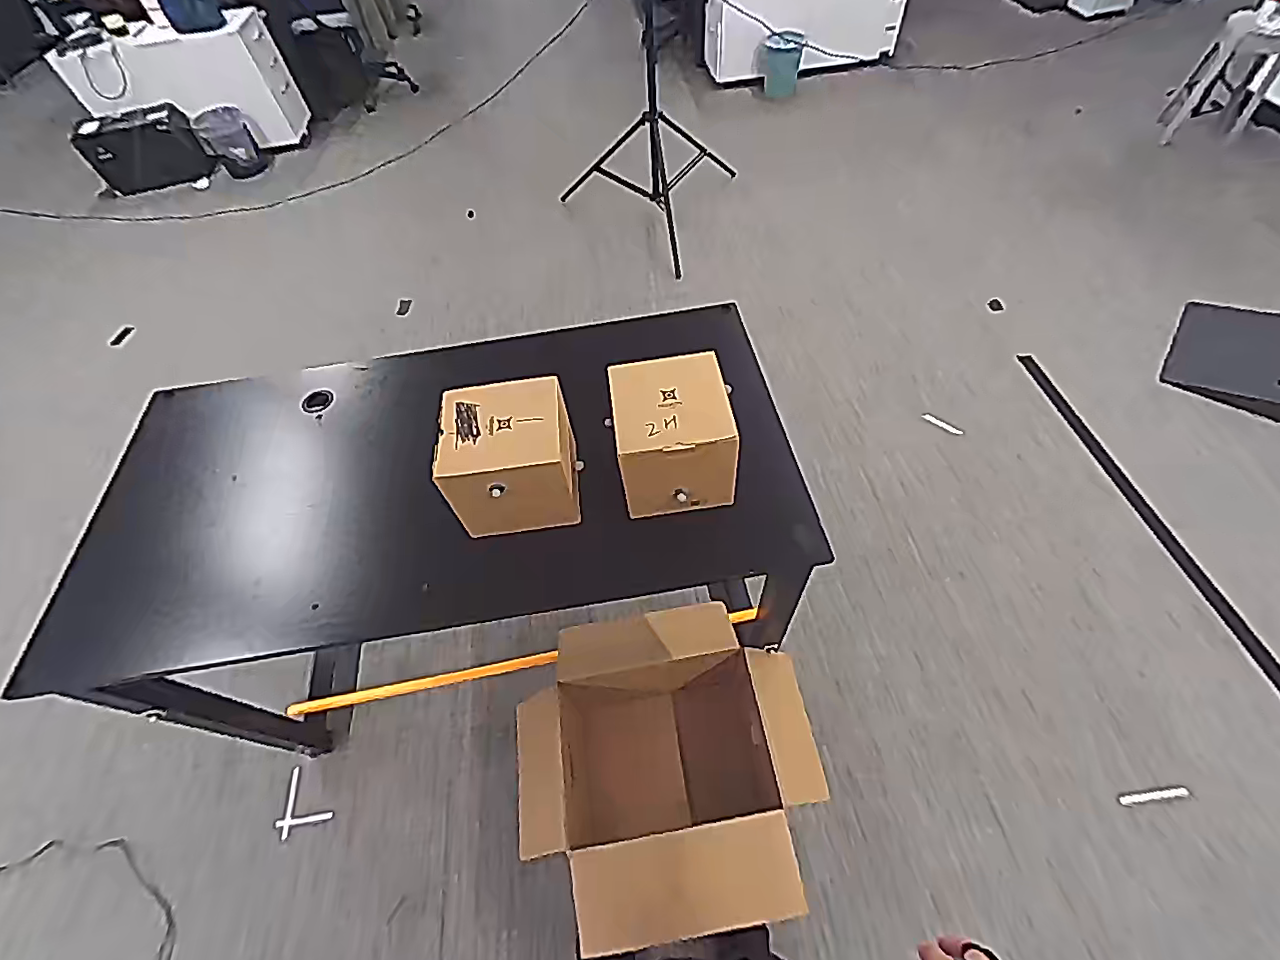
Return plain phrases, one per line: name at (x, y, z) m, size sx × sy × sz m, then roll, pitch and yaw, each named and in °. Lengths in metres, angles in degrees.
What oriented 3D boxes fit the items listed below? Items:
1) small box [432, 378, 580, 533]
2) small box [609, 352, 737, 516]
small box at (-0.196, -0.032, 0.834) m, size 0.179 × 0.176 × 0.168 m, roll -7°, pitch 55°, yaw -1°
small box at (0.047, -0.067, 0.834) m, size 0.168 × 0.176 × 0.179 m, roll -9°, pitch 55°, yaw 1°
